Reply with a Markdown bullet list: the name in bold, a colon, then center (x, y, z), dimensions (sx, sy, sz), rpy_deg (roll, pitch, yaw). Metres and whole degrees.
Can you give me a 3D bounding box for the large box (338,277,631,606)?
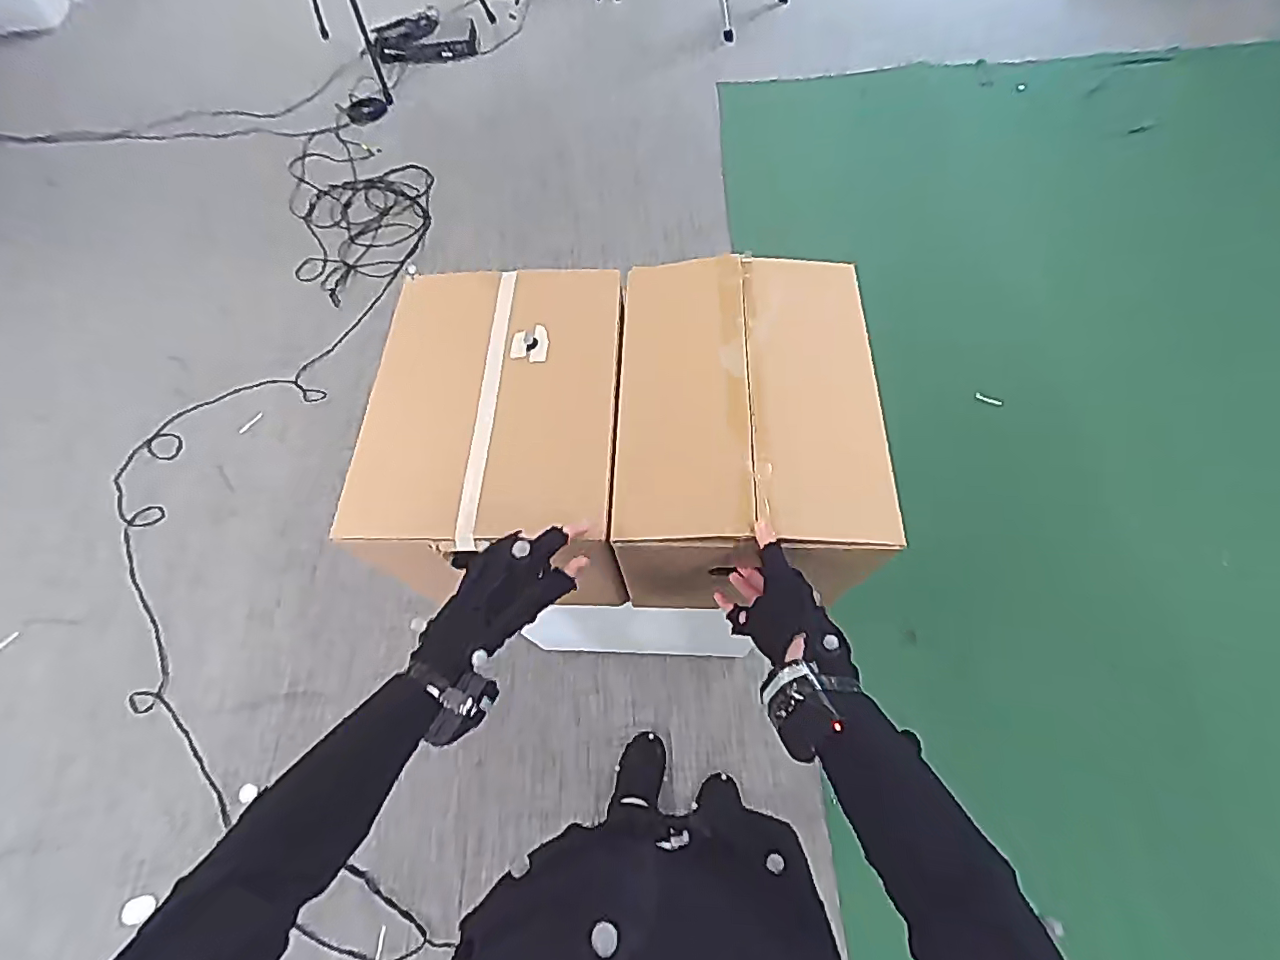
- **large box**: center (-0.181, -0.042, 0.824), dimensions (0.320, 0.320, 0.408), rpy_deg (0, 63, 3)
